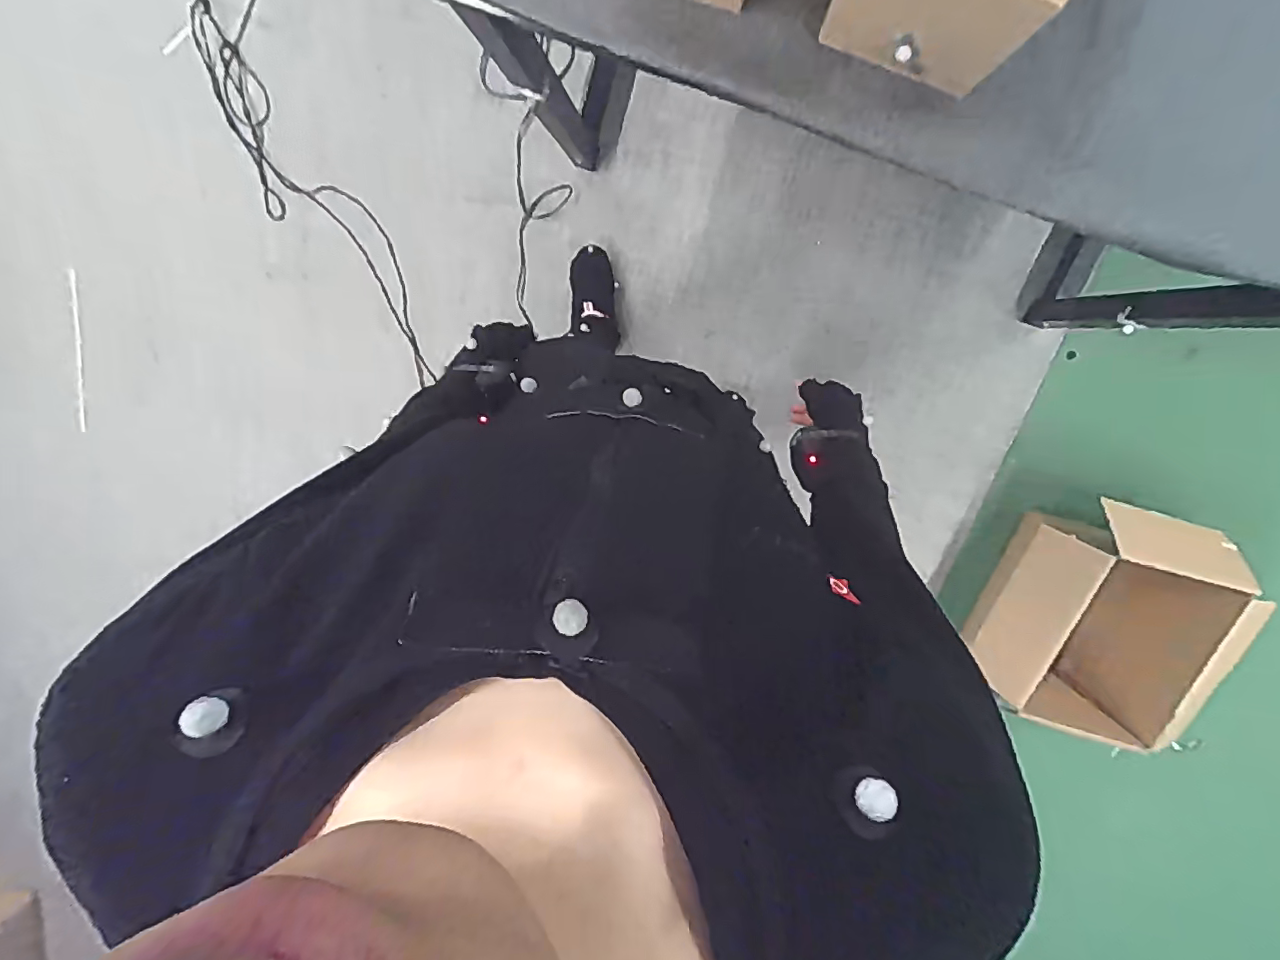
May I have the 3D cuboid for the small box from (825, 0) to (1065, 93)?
[{"bbox_3d":[0.283,-0.487,0.465,0.168,0.176,0.179,21,106,-1],"label":"small box"}]
